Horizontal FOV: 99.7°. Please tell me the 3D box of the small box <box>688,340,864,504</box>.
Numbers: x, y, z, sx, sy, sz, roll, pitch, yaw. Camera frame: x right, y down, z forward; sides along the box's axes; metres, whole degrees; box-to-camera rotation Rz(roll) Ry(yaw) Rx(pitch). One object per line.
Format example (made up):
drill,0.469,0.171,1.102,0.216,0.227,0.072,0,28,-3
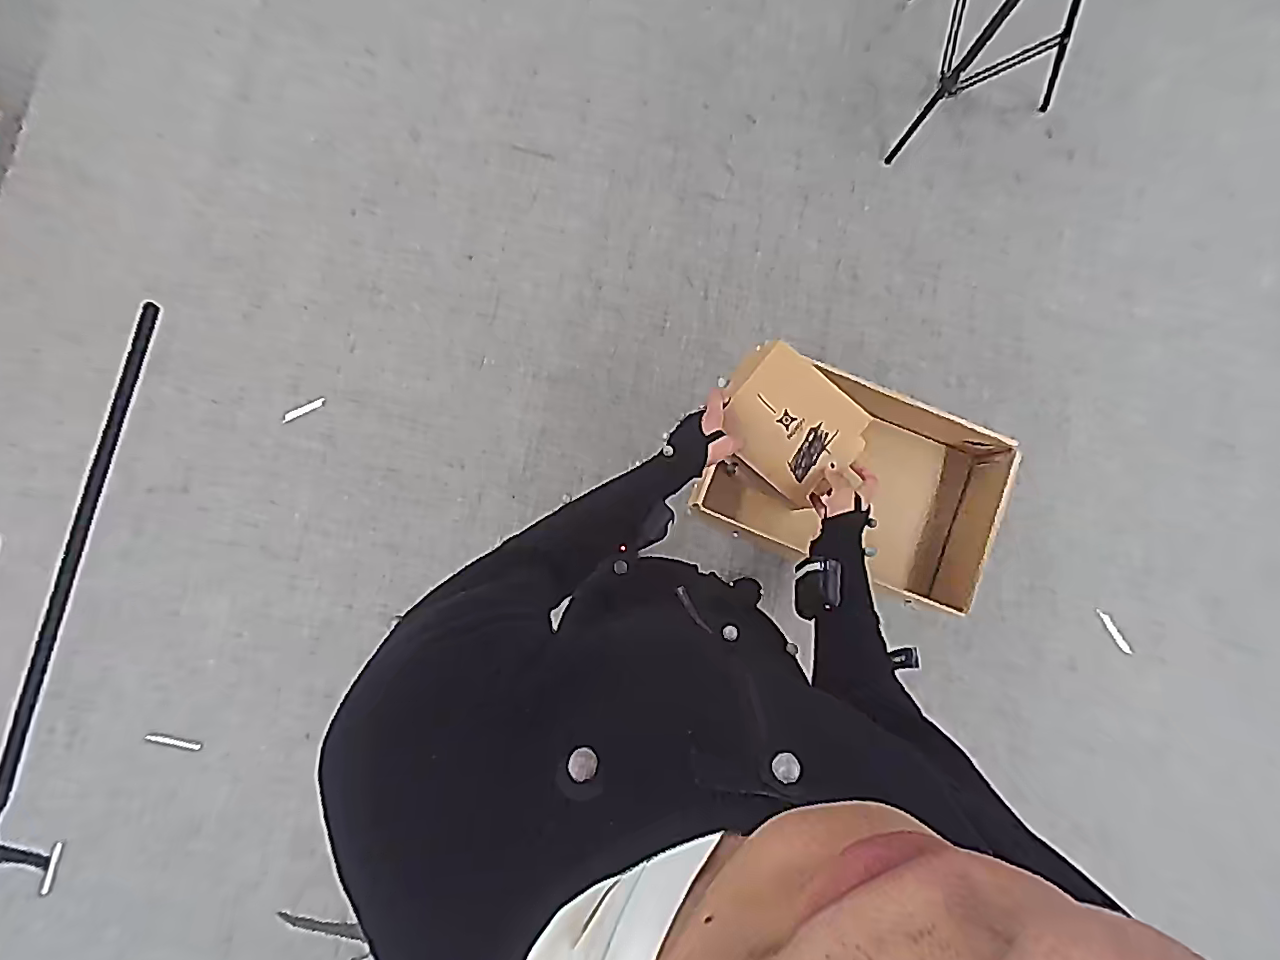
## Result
small box,0.197,-0.089,0.836,0.179,0.176,0.168,40,92,-6
